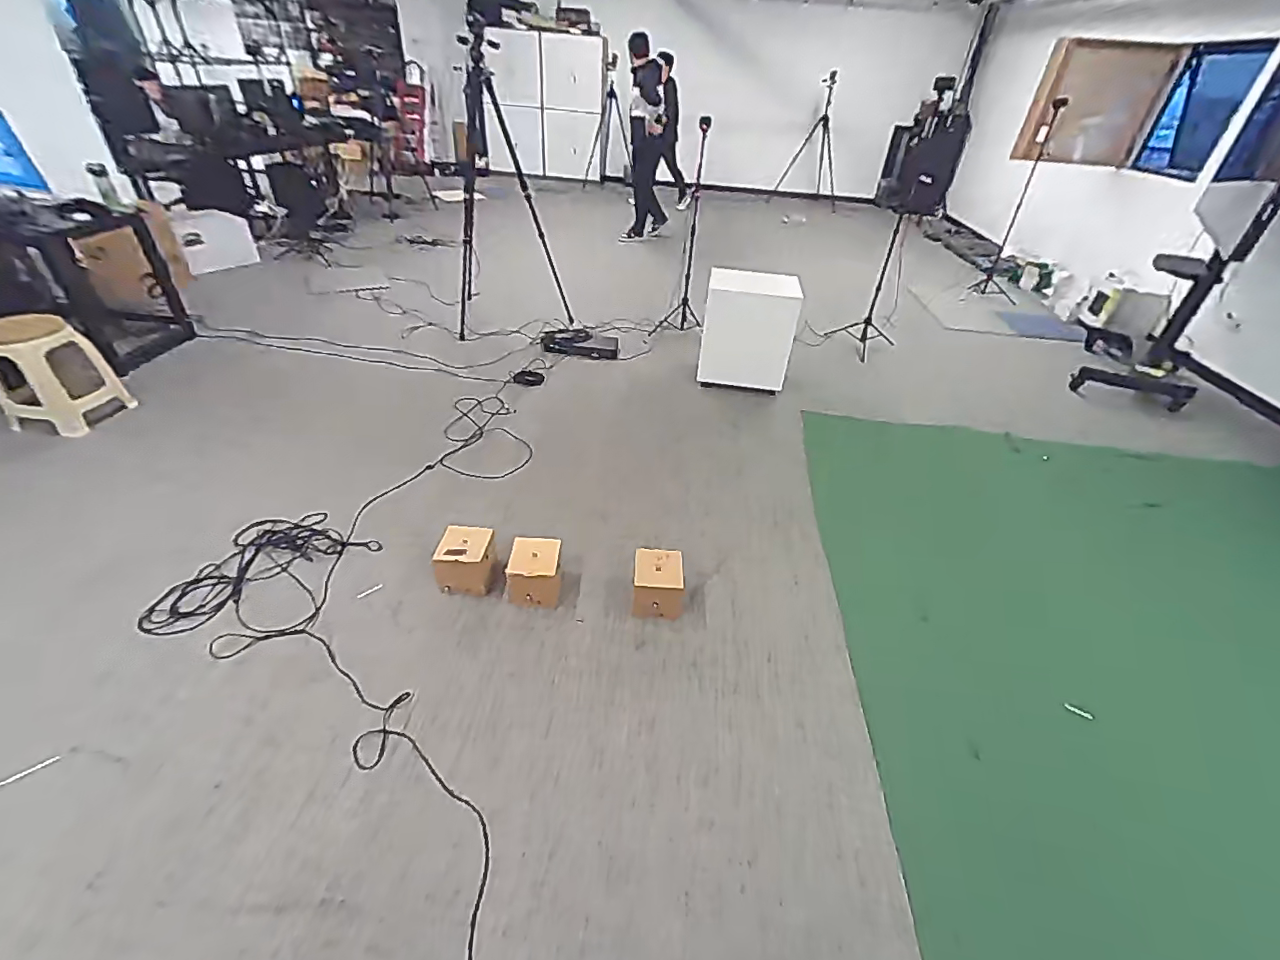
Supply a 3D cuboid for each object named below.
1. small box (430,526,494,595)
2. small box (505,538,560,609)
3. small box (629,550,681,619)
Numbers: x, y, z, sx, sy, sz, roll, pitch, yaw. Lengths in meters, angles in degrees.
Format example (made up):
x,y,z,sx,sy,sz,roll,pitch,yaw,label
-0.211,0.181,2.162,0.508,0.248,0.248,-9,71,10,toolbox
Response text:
x,y,z,sx,sy,sz,roll,pitch,yaw,label
-0.625,0.288,1.926,0.168,0.176,0.179,5,37,0,small box
-0.373,0.328,1.903,0.168,0.176,0.179,3,38,-2,small box
0.051,0.368,1.895,0.168,0.176,0.179,4,38,-2,small box
